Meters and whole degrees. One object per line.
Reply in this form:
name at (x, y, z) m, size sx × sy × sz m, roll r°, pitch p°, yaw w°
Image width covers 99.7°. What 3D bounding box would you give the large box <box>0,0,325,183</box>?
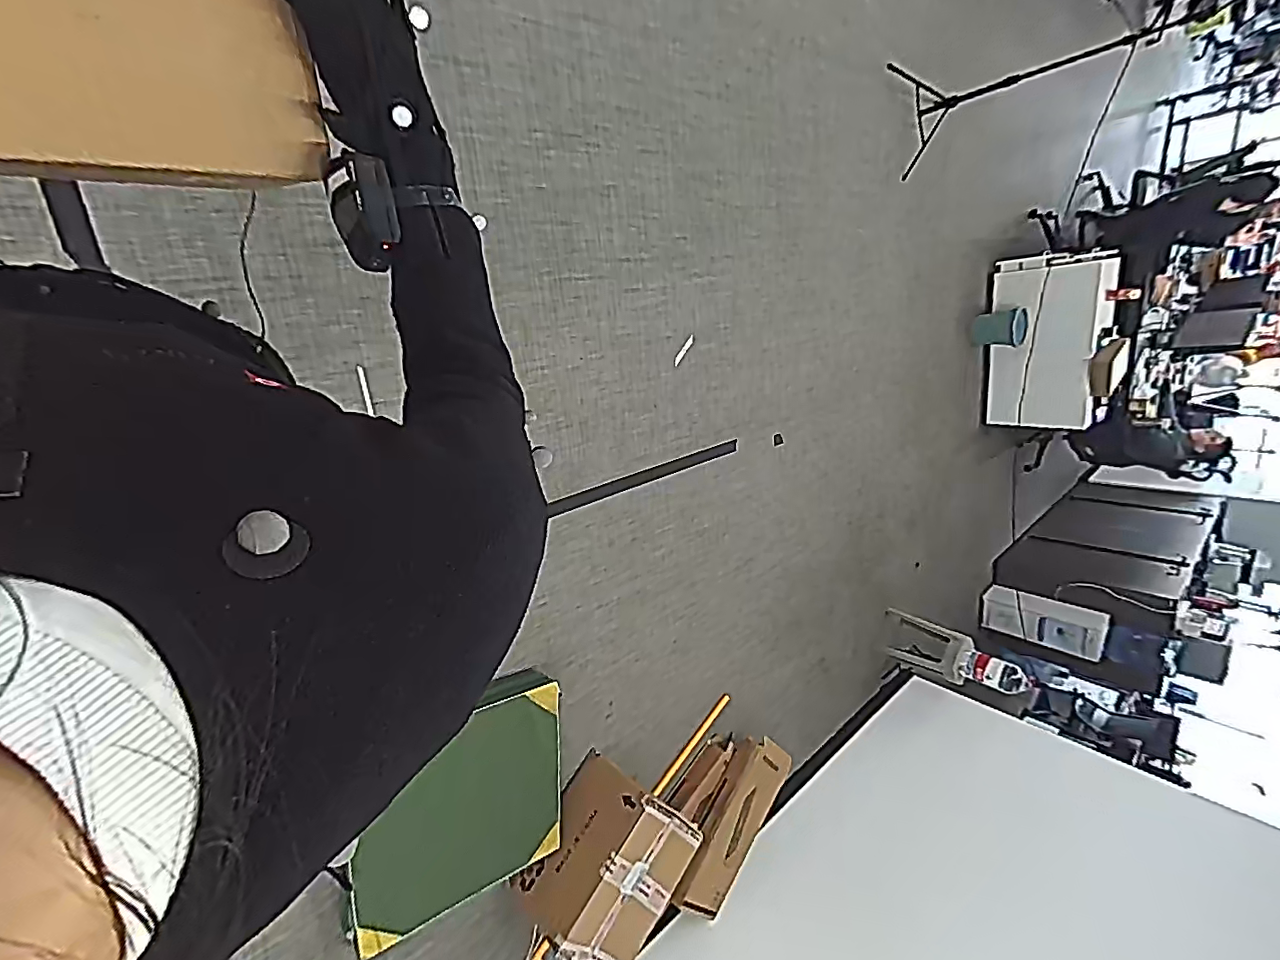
large box at (-0.478, -0.365, 0.322) m, size 0.408 × 0.320 × 0.320 m, roll -19°, pitch 123°, yaw -36°
